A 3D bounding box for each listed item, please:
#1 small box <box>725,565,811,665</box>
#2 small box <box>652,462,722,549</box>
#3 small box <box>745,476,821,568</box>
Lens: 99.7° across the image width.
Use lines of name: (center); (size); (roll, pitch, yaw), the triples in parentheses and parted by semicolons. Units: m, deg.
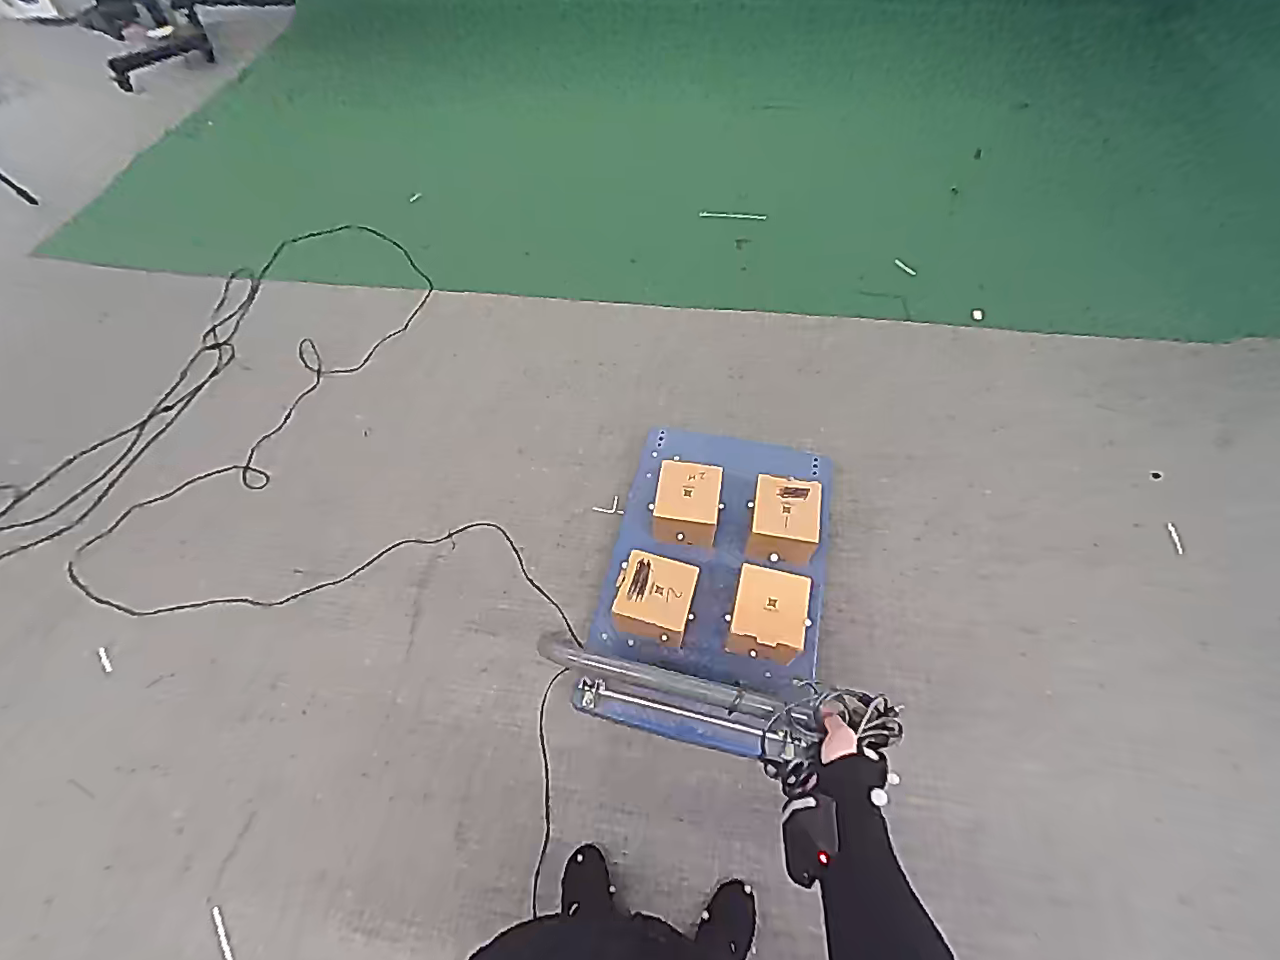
small box: (0.309, 0.334, 1.327); (0.168, 0.176, 0.179); (12, 61, 9)
small box: (0.128, 0.074, 1.487); (0.168, 0.176, 0.179); (8, 60, 6)
small box: (0.380, 0.114, 1.452); (0.168, 0.176, 0.179); (9, 61, 9)
